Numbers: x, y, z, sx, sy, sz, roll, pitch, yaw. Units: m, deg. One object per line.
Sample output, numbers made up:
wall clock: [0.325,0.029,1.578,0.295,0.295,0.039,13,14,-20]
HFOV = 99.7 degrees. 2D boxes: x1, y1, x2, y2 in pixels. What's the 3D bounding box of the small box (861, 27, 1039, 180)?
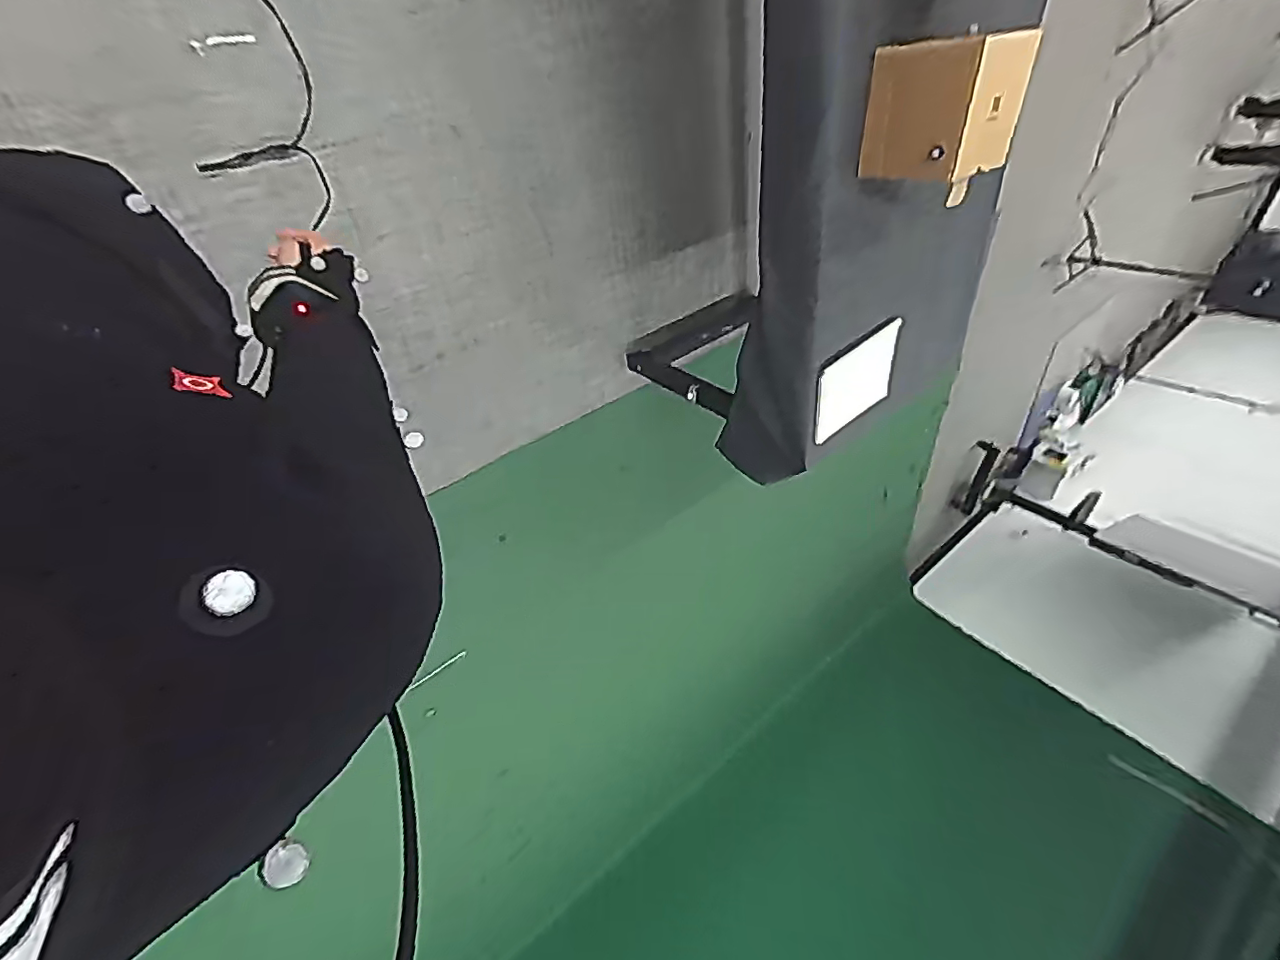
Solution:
small box: [0.474,-0.588,0.851,0.168,0.176,0.179,-29,133,-26]
